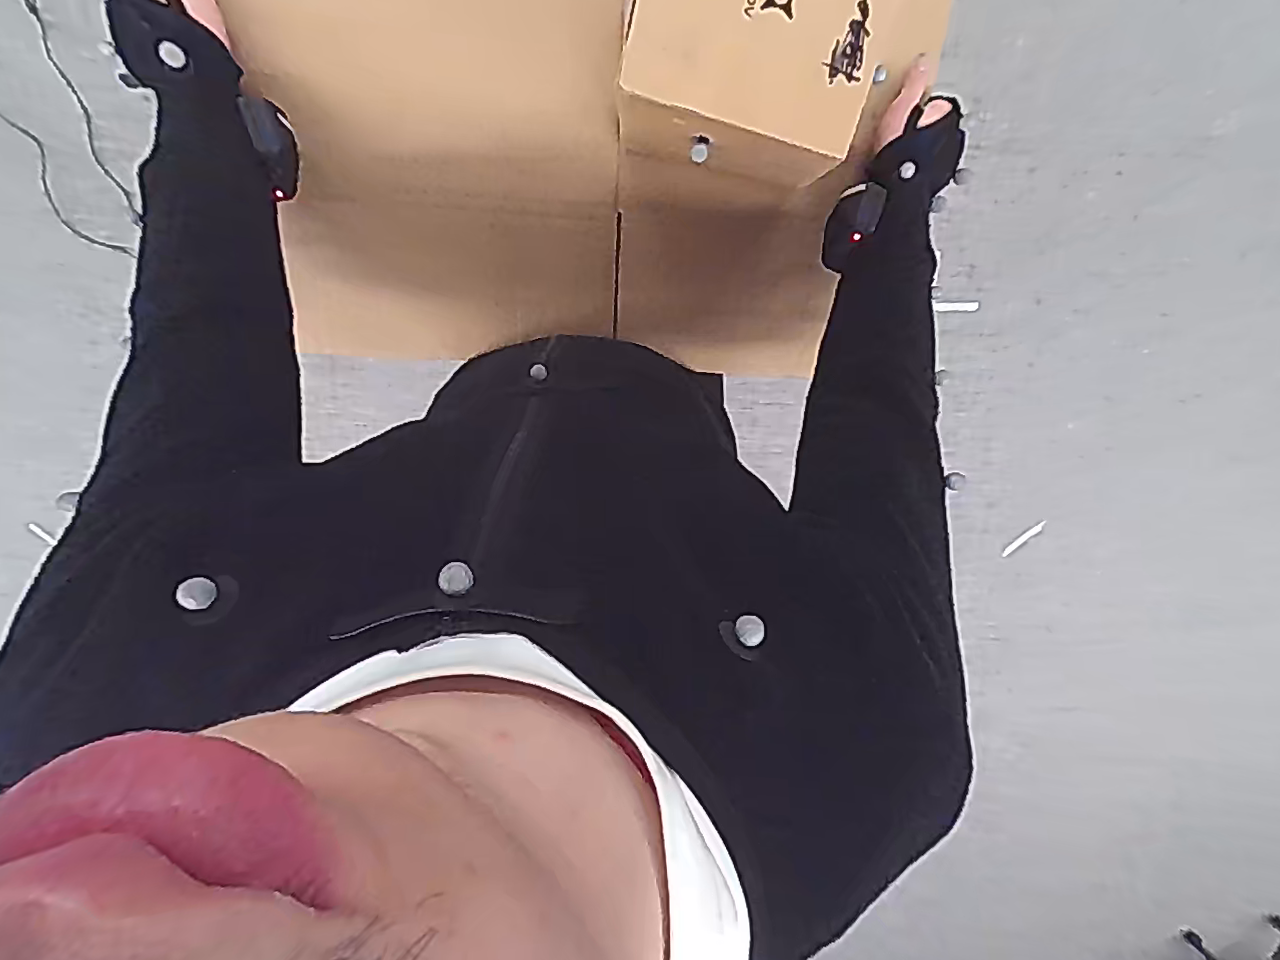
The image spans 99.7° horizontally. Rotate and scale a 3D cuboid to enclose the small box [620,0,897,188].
[{"bbox_3d":[0.092,-0.362,0.447,0.179,0.176,0.168,15,109,-3],"label":"small box"}]
